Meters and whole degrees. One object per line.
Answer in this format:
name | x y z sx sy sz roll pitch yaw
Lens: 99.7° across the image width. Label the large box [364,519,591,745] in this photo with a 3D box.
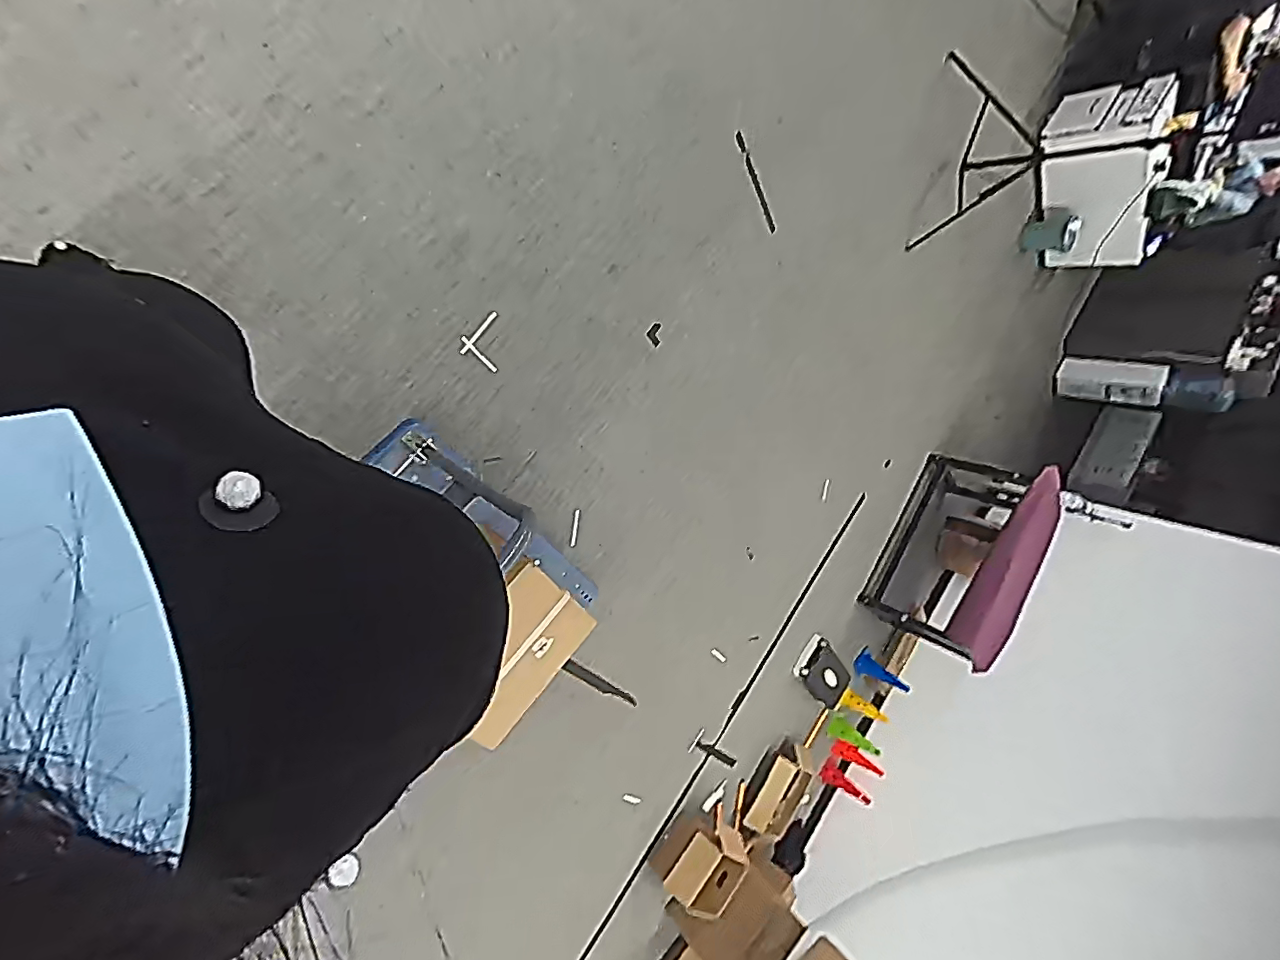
large box | -0.413 0.376 1.392 0.408 0.320 0.320 -50 132 -17
